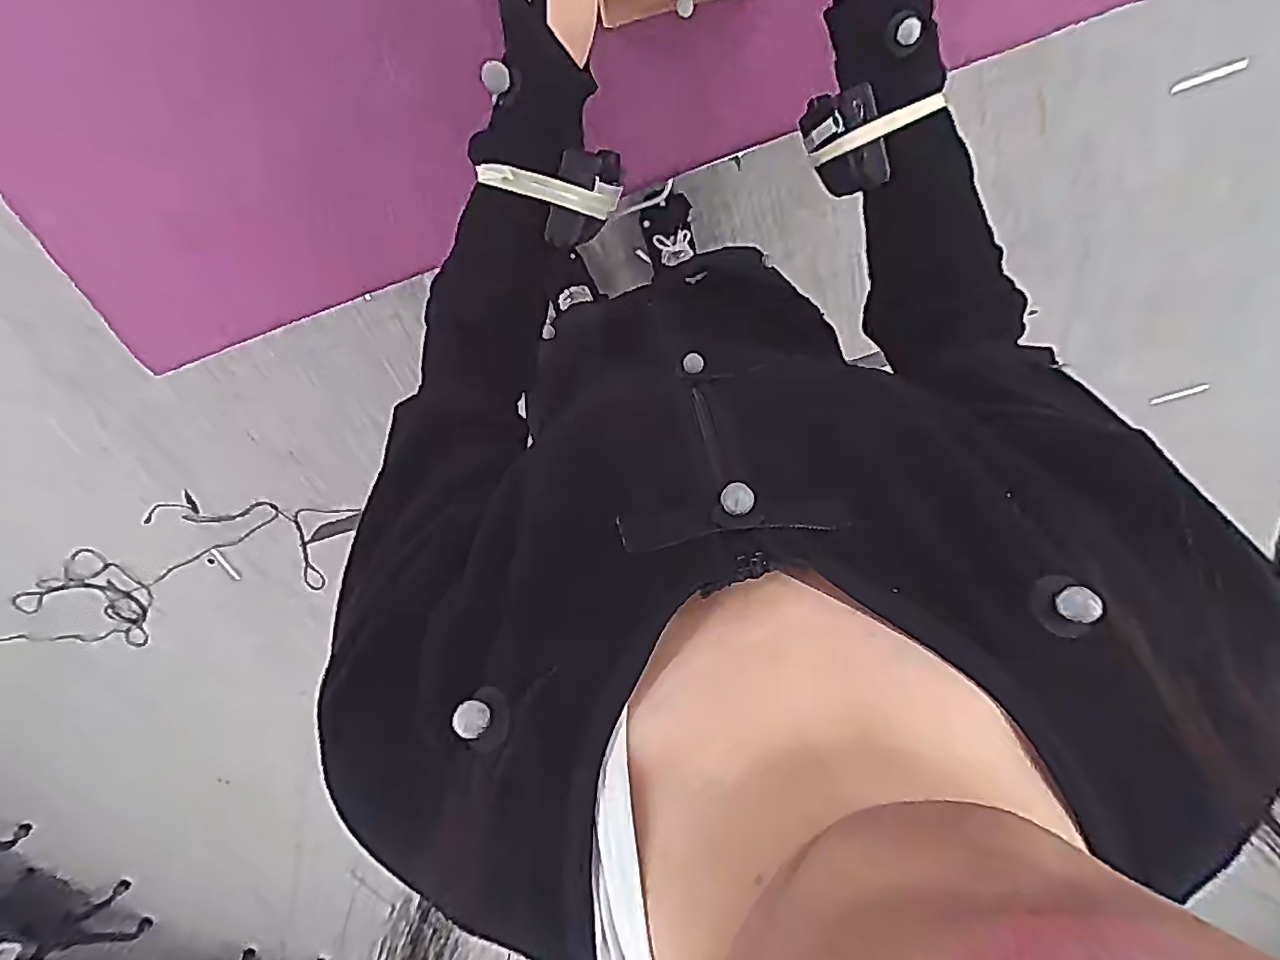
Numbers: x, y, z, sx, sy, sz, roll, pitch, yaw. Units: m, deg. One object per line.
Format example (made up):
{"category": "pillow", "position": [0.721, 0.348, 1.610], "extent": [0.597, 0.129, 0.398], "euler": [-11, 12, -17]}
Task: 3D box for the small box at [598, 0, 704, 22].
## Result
{"category": "small box", "position": [0.026, -0.510, 0.428], "extent": [0.168, 0.176, 0.179], "euler": [-11, 119, 4]}
